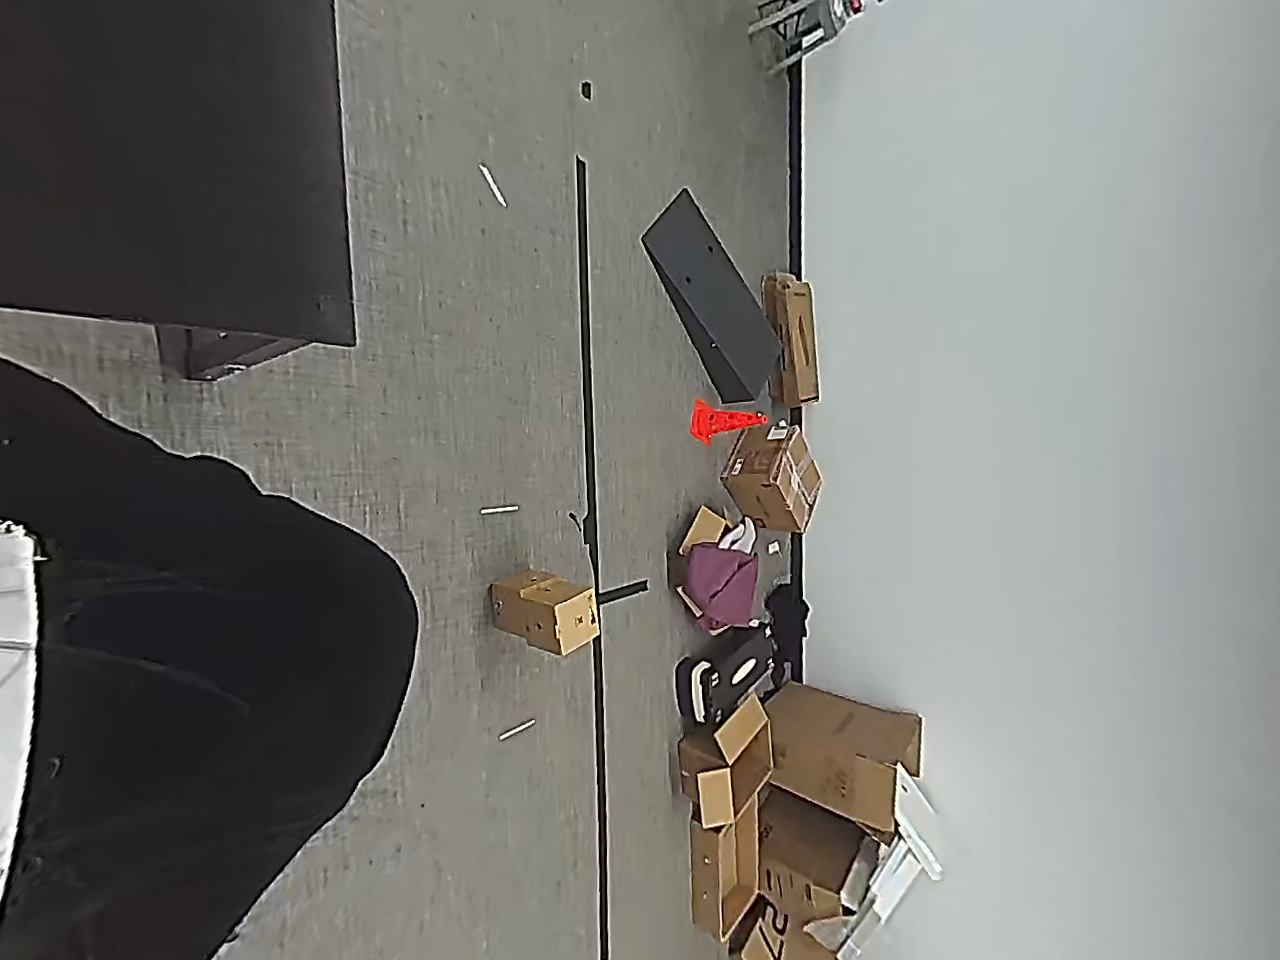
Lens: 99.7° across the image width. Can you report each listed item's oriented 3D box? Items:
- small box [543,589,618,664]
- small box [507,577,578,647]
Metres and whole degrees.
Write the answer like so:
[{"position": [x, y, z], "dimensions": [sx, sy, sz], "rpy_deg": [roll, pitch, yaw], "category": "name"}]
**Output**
[{"position": [-0.196, 0.462, 1.729], "dimensions": [0.179, 0.176, 0.168], "rpy_deg": [-17, 104, -49], "category": "small box"}, {"position": [-0.323, 0.439, 1.832], "dimensions": [0.179, 0.176, 0.168], "rpy_deg": [-15, 103, -48], "category": "small box"}]
